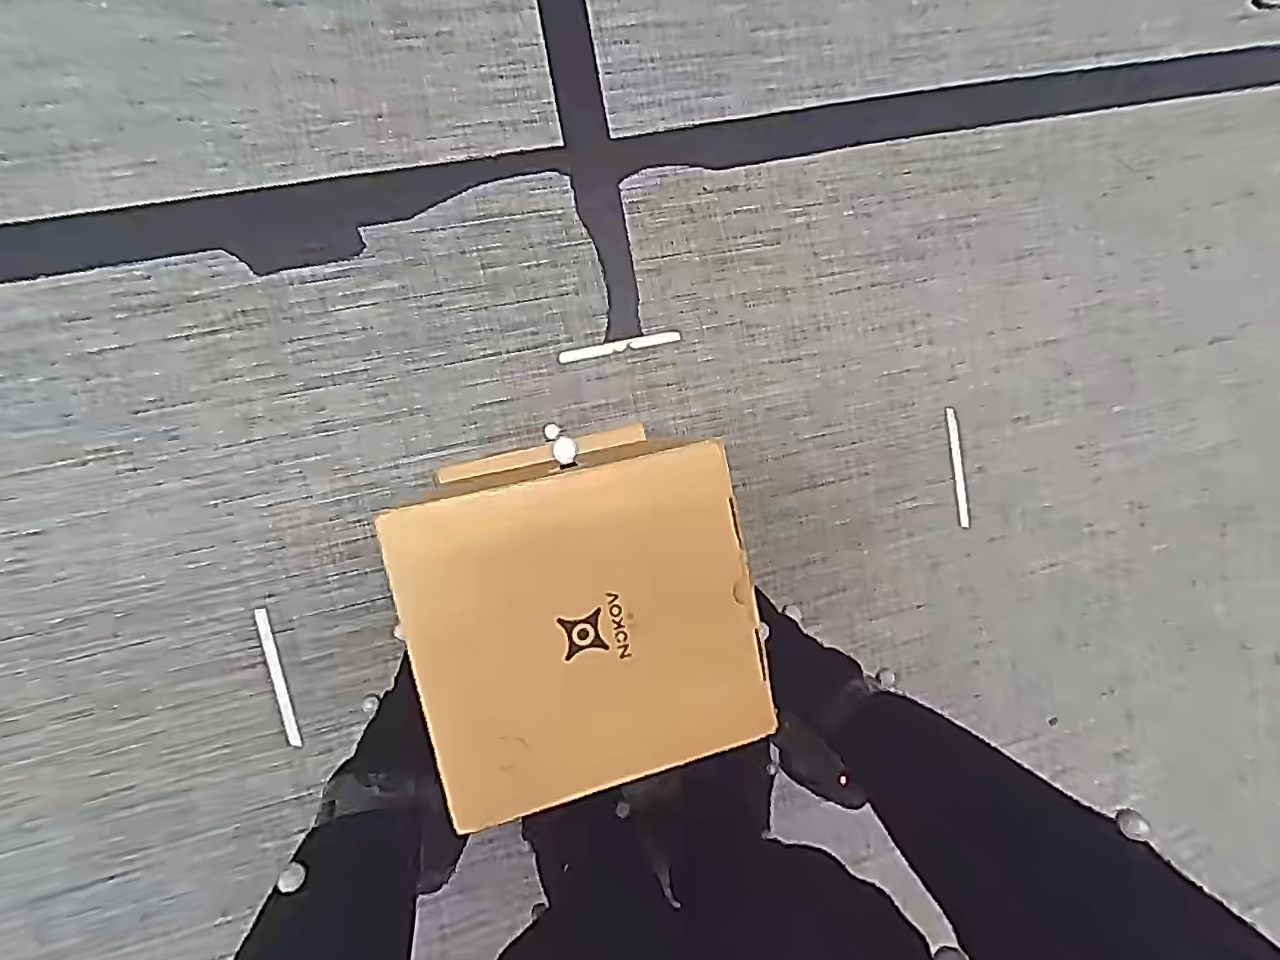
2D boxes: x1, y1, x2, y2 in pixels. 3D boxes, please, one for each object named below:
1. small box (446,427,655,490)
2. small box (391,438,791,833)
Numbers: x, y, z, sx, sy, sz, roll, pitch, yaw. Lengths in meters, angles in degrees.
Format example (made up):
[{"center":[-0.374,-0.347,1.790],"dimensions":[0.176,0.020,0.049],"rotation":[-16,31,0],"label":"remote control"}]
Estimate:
[{"center":[-0.065,0.053,0.506],"dimensions":[0.168,0.176,0.179],"rotation":[-14,95,-10],"label":"small box"},{"center":[-0.031,0.071,0.348],"dimensions":[0.179,0.176,0.168],"rotation":[-13,96,-10],"label":"small box"}]
